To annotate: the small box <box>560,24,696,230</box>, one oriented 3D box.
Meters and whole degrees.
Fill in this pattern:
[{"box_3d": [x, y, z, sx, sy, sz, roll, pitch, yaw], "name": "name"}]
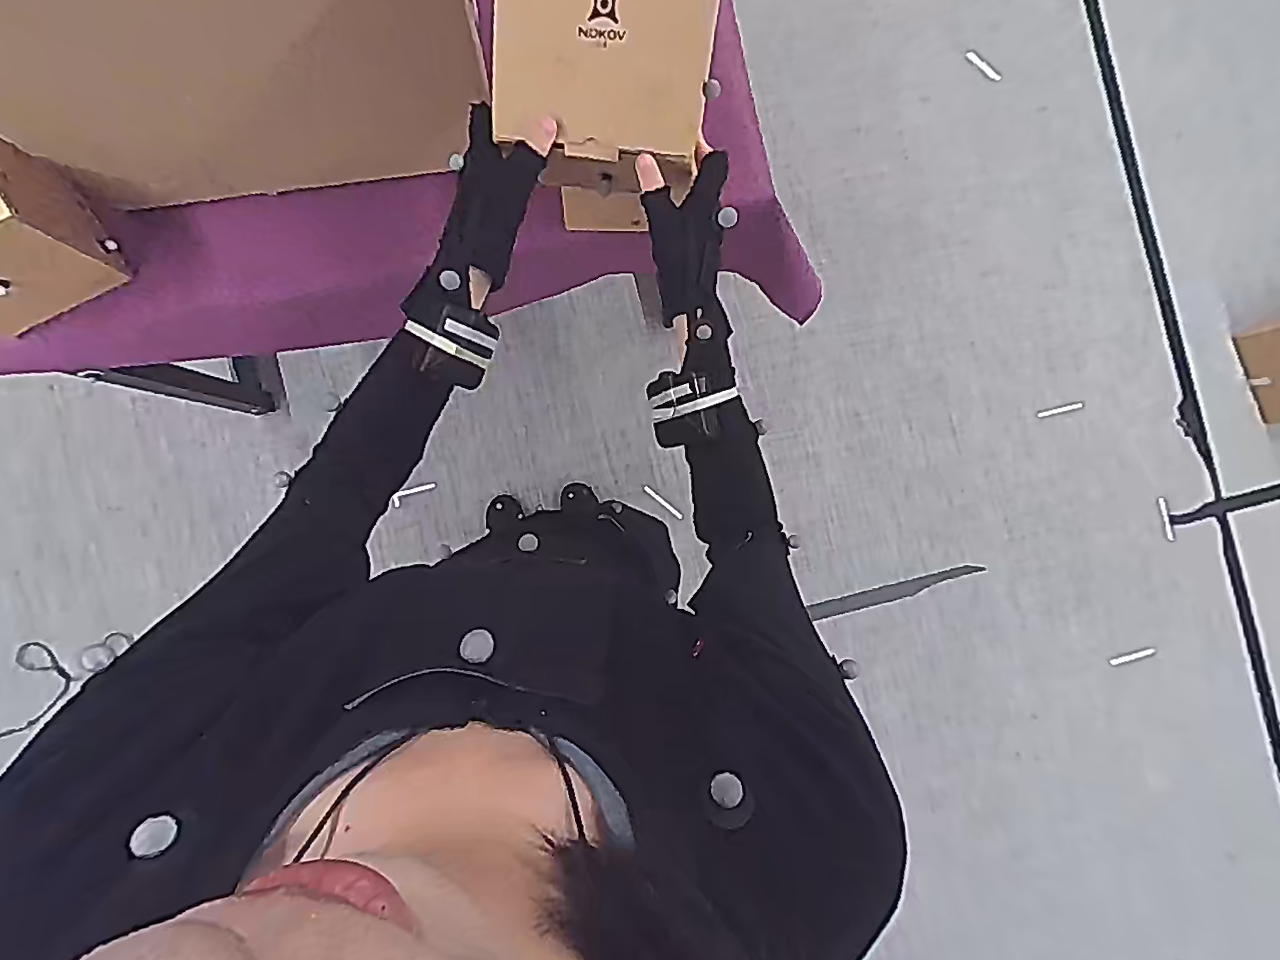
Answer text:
[{"box_3d": [-0.021, -0.461, 0.734, 0.168, 0.176, 0.179, -2, 87, -6], "name": "small box"}]
